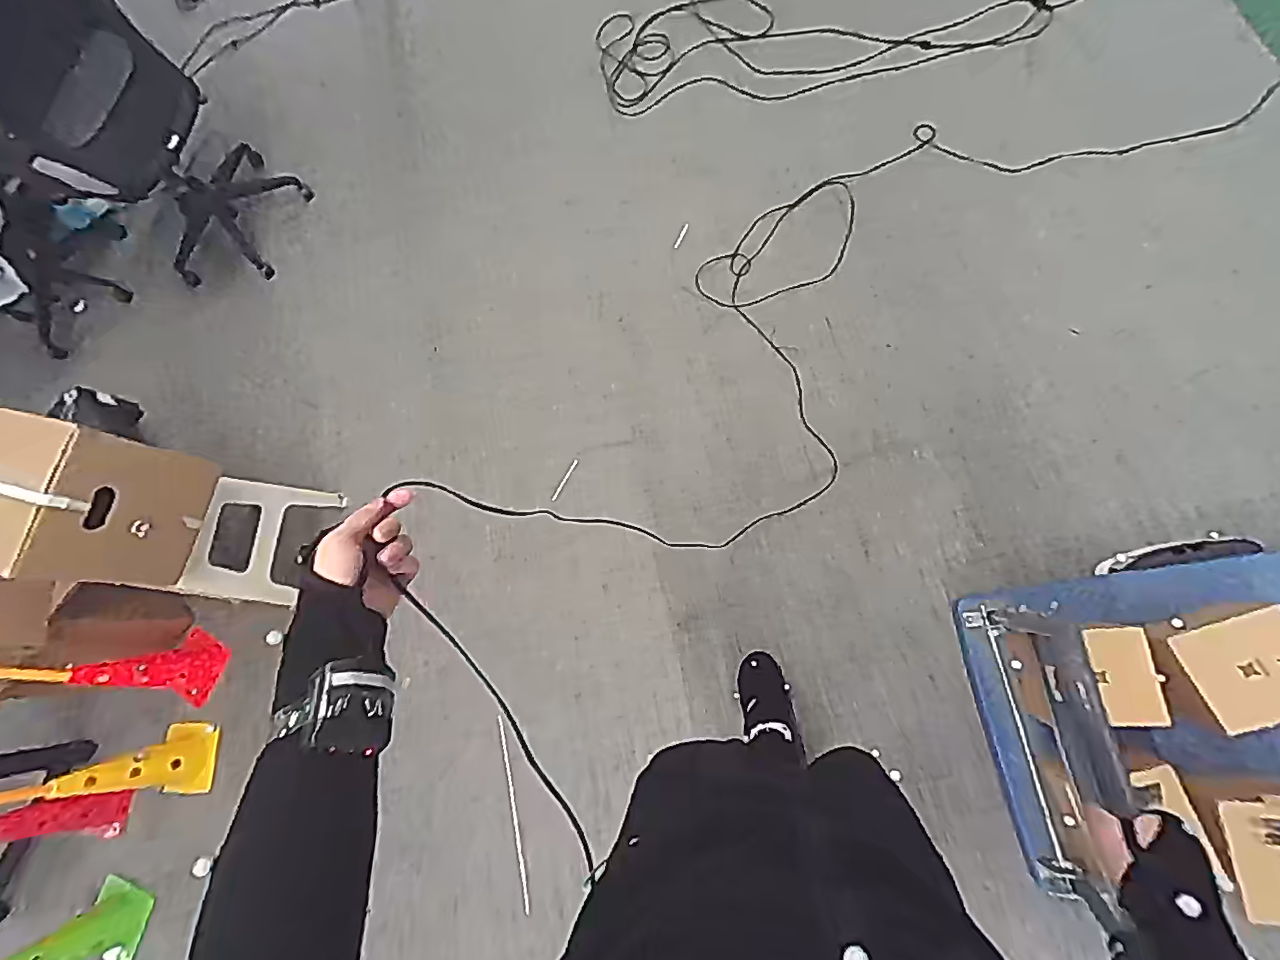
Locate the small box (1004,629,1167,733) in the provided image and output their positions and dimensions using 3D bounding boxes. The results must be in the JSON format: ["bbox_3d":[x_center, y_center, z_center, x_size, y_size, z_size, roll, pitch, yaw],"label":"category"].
[{"bbox_3d":[0.835,0.377,1.034,0.179,0.176,0.168,-9,75,18],"label":"small box"}]

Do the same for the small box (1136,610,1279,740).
[{"bbox_3d":[1.036,0.339,0.963,0.179,0.176,0.168,-25,71,14],"label":"small box"}]
